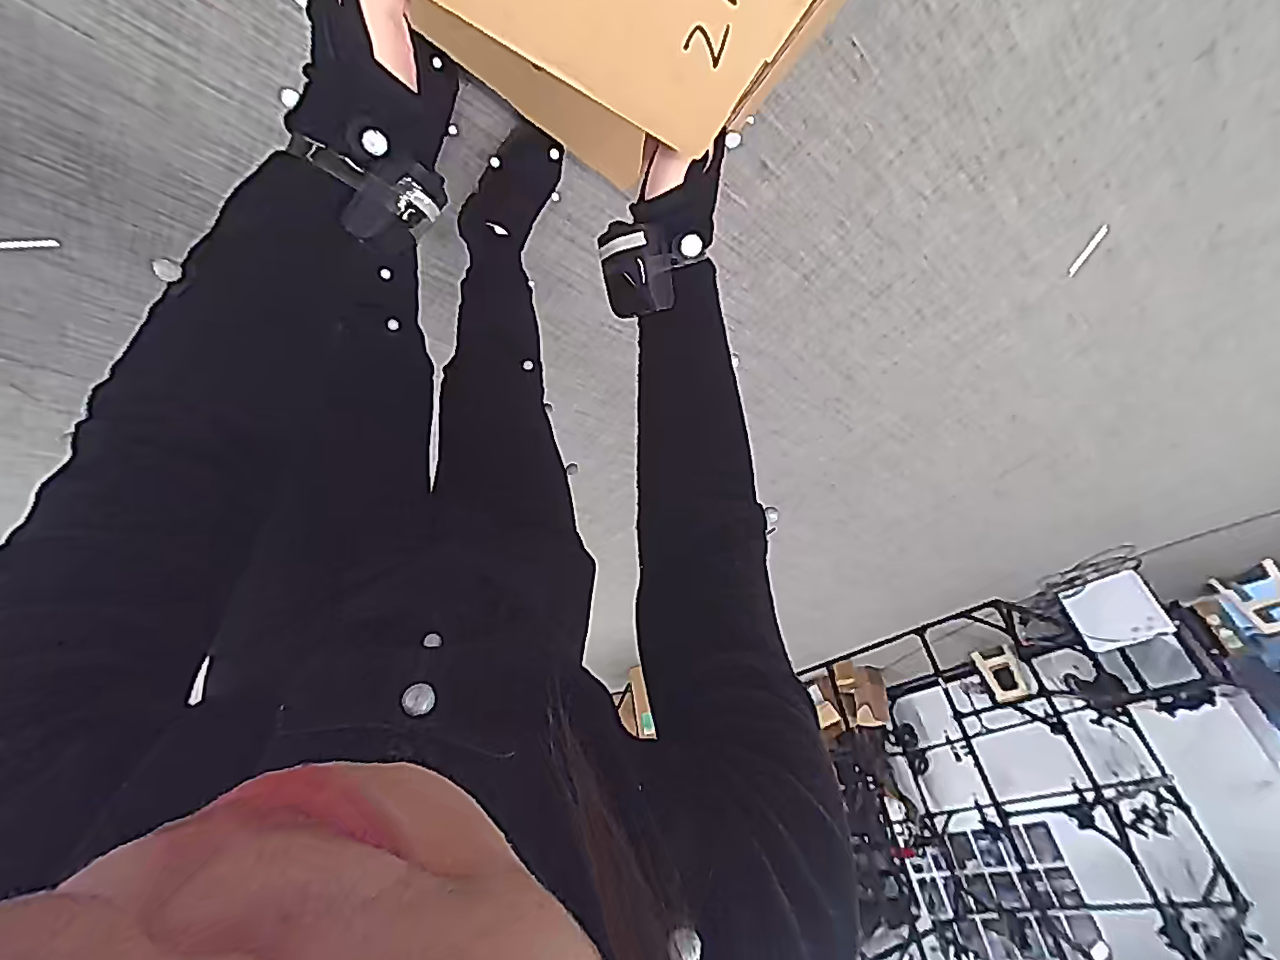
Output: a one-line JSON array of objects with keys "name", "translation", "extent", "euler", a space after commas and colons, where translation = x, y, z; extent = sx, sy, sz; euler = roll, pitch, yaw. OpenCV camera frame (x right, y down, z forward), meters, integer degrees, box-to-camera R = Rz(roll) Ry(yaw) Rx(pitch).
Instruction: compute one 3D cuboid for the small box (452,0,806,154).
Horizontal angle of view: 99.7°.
[{"name": "small box", "translation": [-0.005, -0.318, 0.268], "extent": [0.179, 0.176, 0.168], "euler": [10, 144, -33]}]
